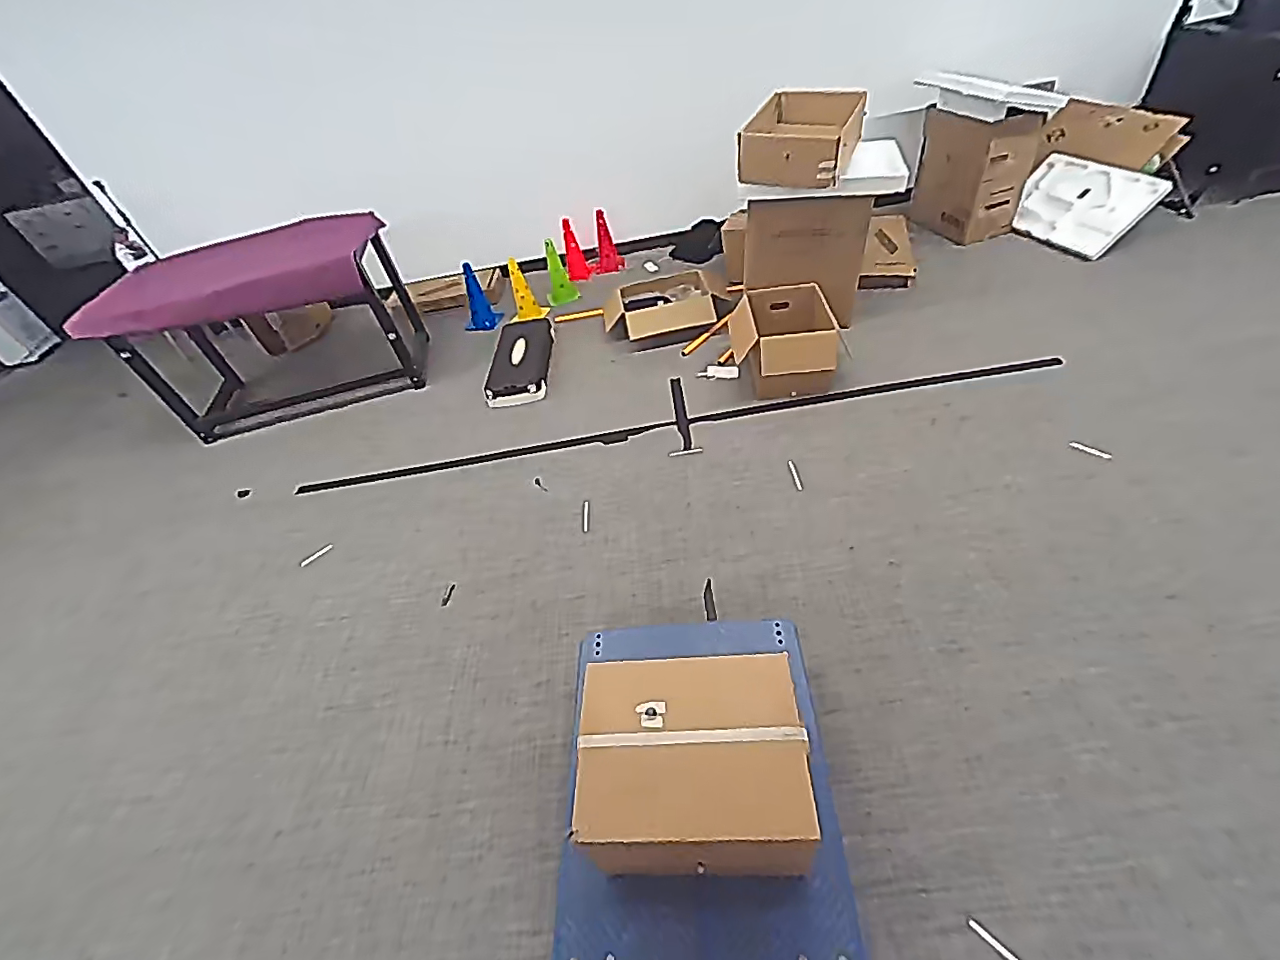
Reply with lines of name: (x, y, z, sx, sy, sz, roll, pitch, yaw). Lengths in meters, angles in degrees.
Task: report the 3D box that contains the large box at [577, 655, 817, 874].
large box: (0.114, 0.583, 1.096, 0.408, 0.320, 0.320, -7, 44, 7)
